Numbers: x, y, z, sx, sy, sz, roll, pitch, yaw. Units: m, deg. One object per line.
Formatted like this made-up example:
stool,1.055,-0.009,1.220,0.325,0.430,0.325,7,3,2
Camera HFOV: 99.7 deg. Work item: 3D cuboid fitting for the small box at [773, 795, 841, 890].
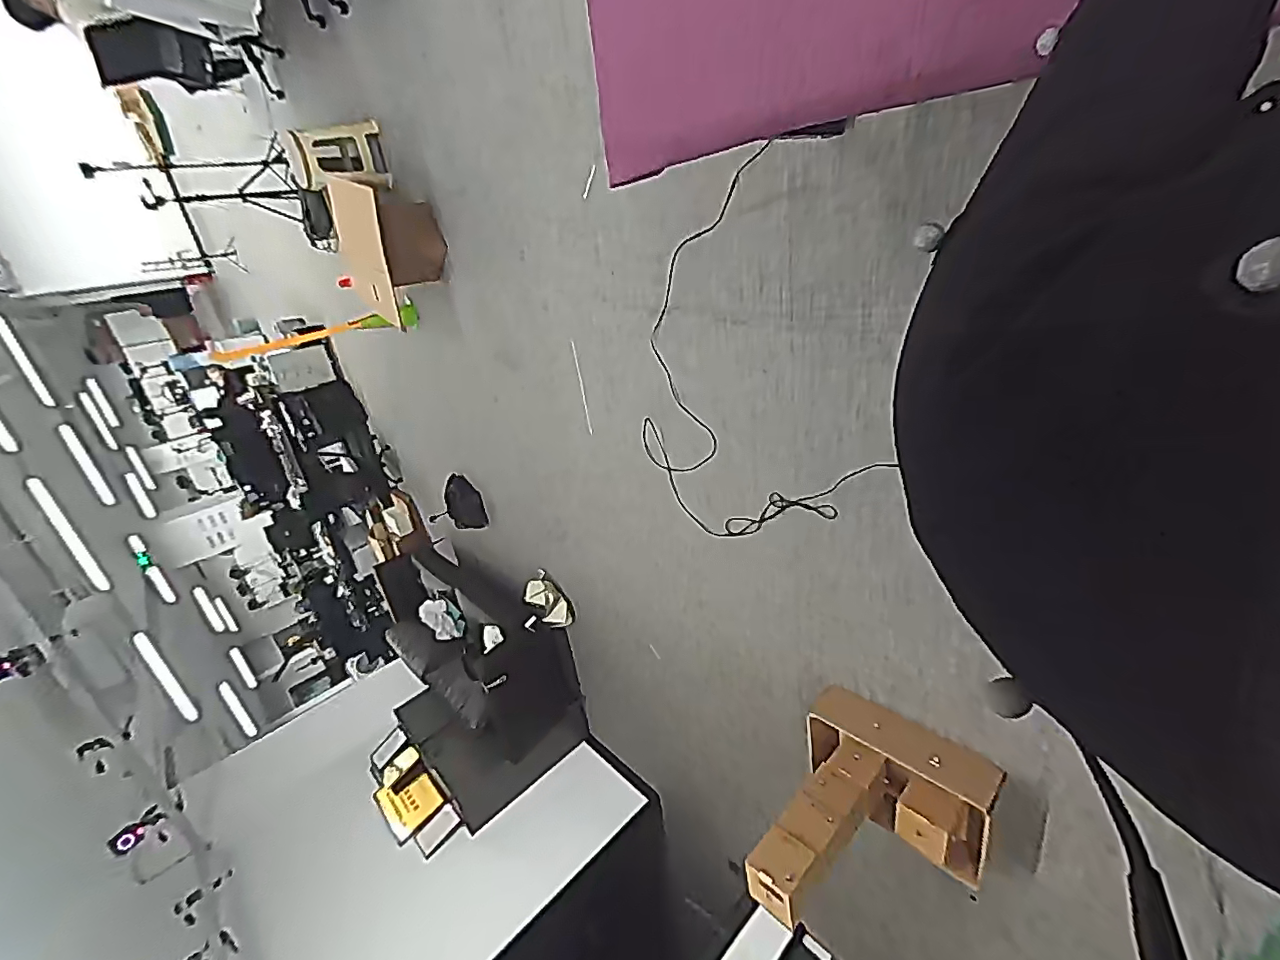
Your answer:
small box,0.579,1.243,1.869,0.168,0.176,0.179,16,124,44

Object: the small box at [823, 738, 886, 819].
small box,0.820,1.126,2.060,0.168,0.176,0.179,9,120,45

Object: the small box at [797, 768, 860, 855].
small box,0.683,1.193,1.961,0.168,0.176,0.179,15,123,44
